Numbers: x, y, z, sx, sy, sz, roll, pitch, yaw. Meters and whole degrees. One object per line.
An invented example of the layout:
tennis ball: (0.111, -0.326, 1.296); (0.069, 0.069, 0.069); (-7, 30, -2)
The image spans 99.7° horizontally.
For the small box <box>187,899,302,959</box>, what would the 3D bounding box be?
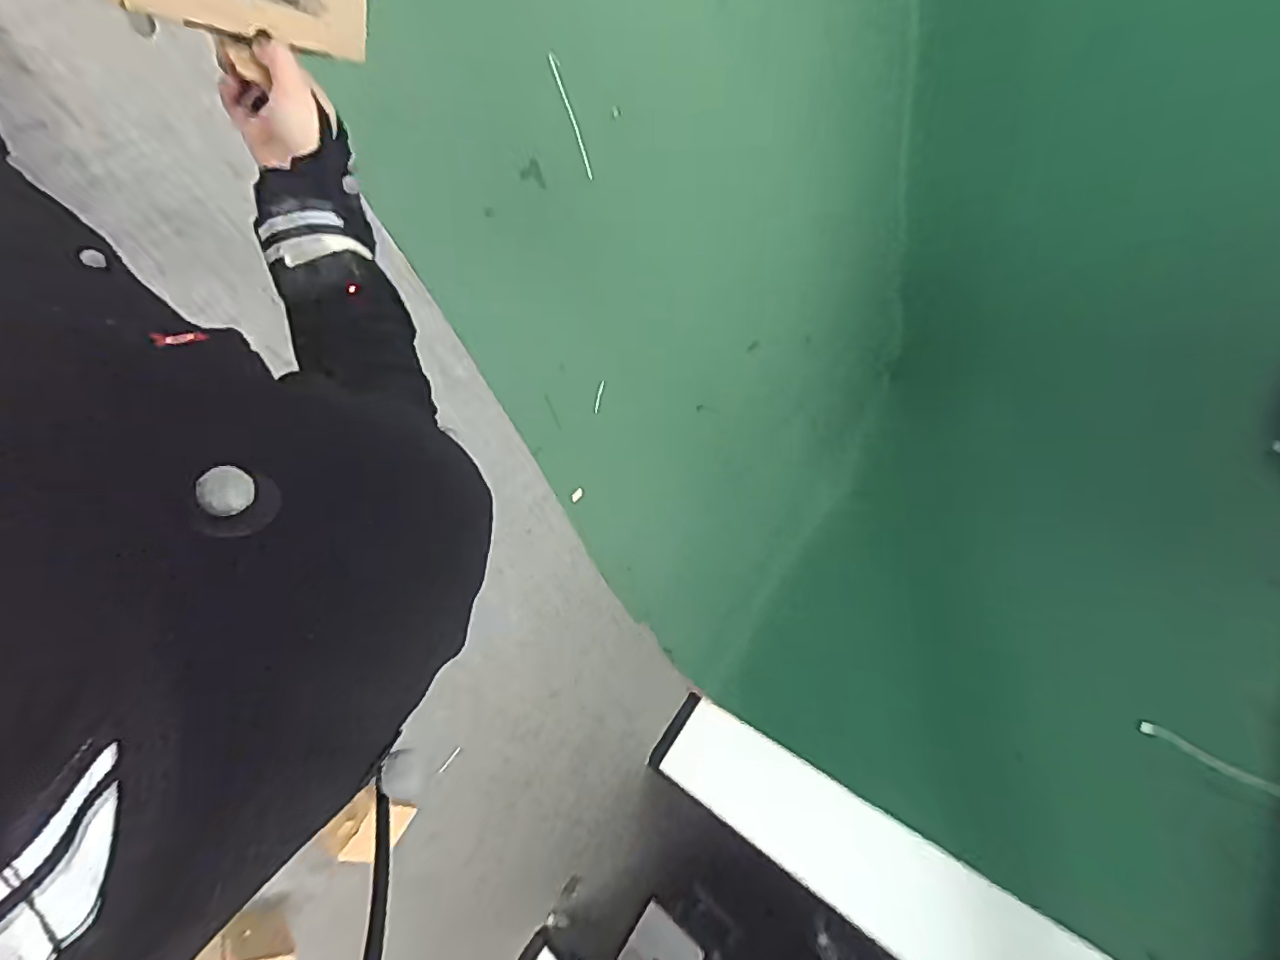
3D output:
small box: (-1.062, 1.269, 1.443); (0.168, 0.176, 0.179); (-57, 143, -12)

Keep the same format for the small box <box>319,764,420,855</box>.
small box: (-0.808, 0.980, 1.615); (0.168, 0.176, 0.179); (-56, 141, -16)
